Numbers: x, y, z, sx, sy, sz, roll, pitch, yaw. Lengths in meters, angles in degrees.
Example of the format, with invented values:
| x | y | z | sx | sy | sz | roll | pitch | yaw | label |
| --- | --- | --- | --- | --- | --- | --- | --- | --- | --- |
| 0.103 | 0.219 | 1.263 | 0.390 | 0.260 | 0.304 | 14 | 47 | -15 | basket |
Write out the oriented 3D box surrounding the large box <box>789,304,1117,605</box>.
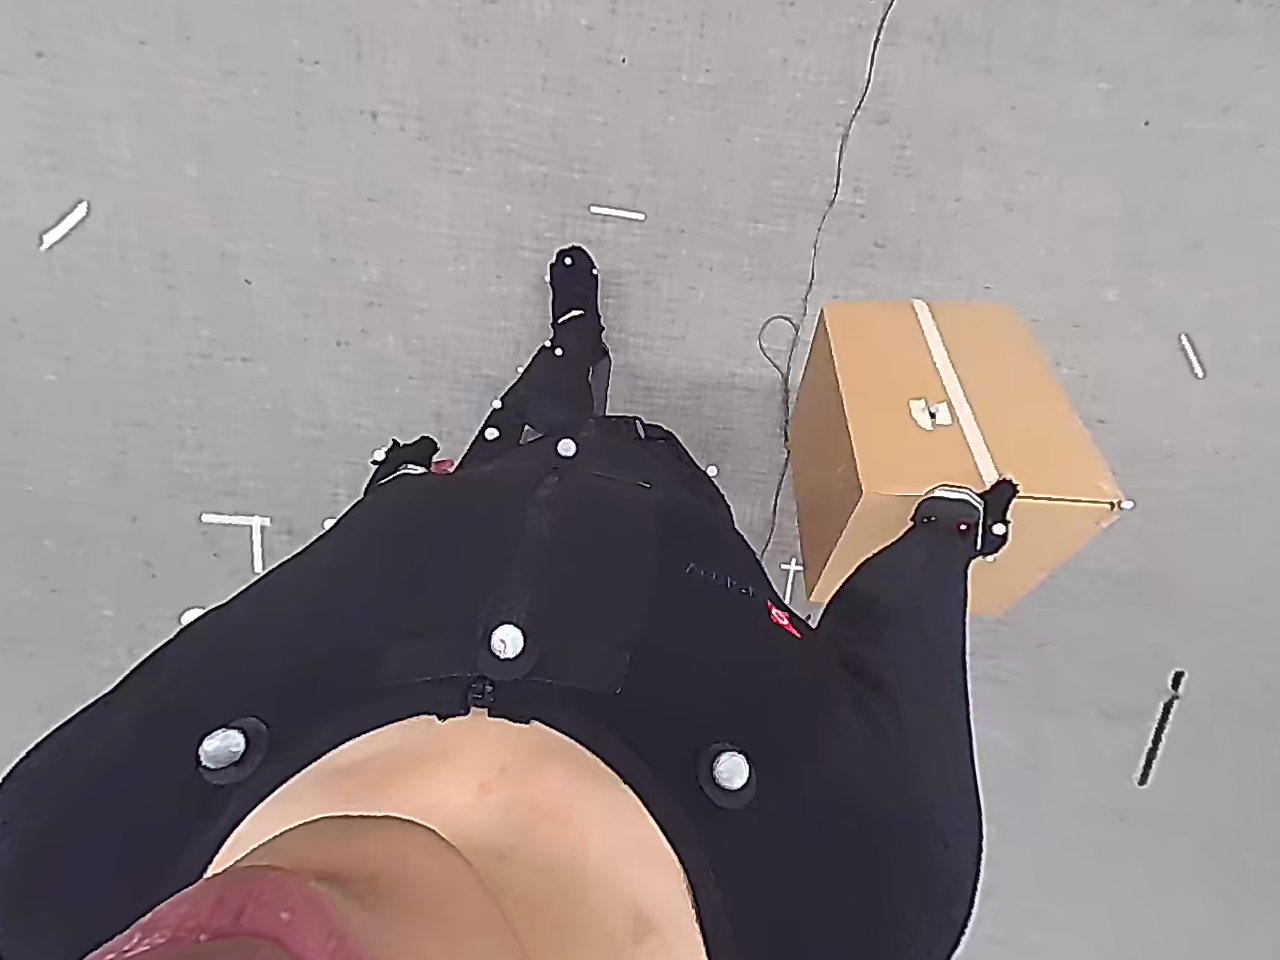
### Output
| x | y | z | sx | sy | sz | roll | pitch | yaw | label |
| --- | --- | --- | --- | --- | --- | --- | --- | --- | --- |
| 0.454 | -0.043 | 0.911 | 0.320 | 0.408 | 0.320 | 2 | 144 | 4 | large box |
